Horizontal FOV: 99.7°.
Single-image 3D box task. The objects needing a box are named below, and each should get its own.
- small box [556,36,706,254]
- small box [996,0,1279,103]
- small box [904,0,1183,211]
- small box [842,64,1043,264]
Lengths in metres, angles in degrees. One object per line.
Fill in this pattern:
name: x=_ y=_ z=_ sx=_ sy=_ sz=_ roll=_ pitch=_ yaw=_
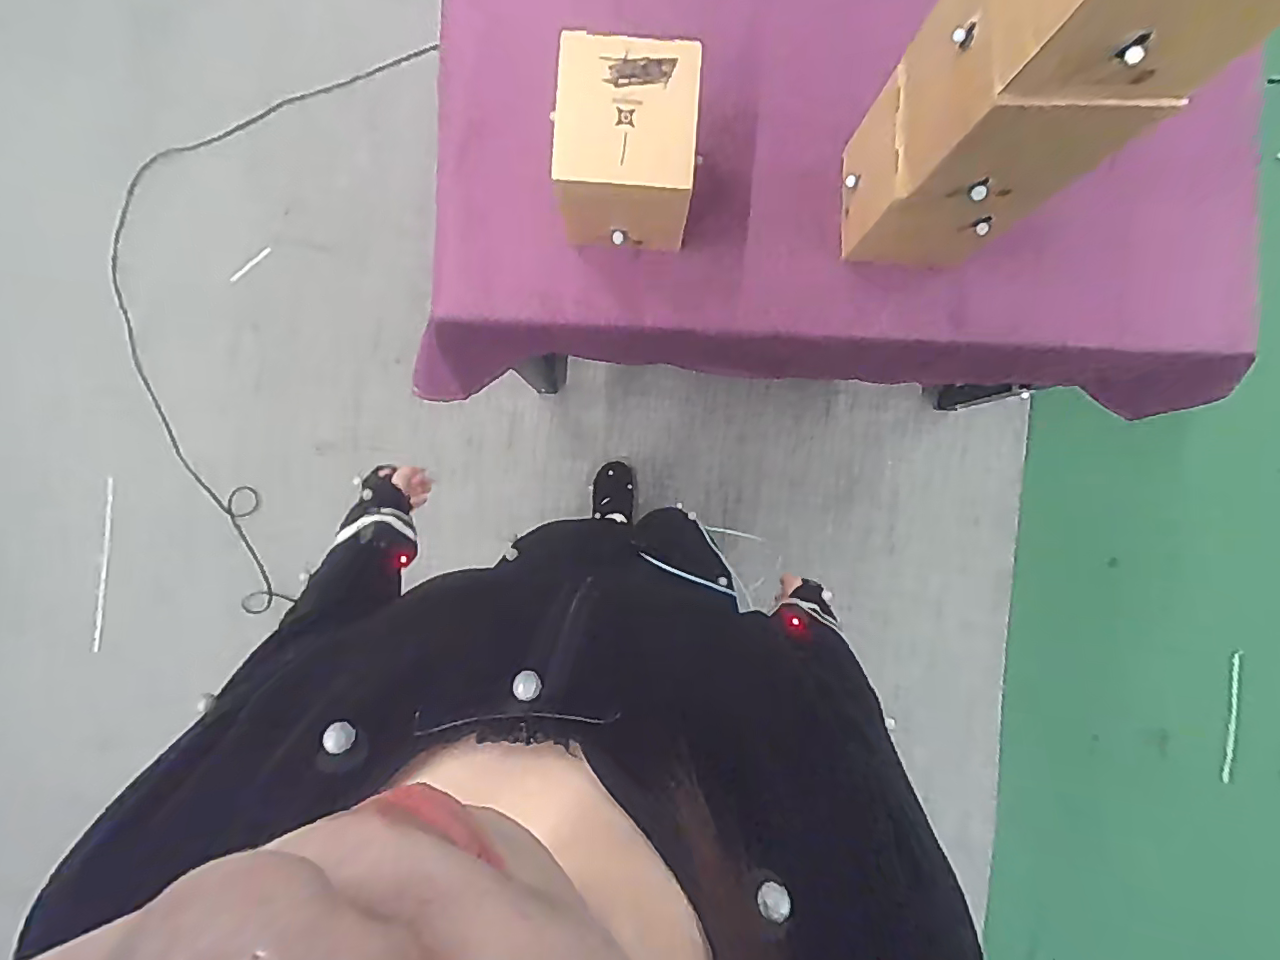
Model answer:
small box: x=-0.012 y=-0.422 z=0.706 sx=0.168 sy=0.176 sz=0.179 roll=4 pitch=90 yaw=0
small box: x=0.386 y=-0.411 z=0.384 sx=0.168 sy=0.176 sz=0.179 roll=-1 pitch=90 yaw=0
small box: x=0.387 y=-0.403 z=0.547 sx=0.168 sy=0.176 sz=0.179 roll=1 pitch=90 yaw=0
small box: x=0.387 y=-0.399 z=0.710 sx=0.179 sy=0.176 sz=0.168 roll=2 pitch=89 yaw=0
